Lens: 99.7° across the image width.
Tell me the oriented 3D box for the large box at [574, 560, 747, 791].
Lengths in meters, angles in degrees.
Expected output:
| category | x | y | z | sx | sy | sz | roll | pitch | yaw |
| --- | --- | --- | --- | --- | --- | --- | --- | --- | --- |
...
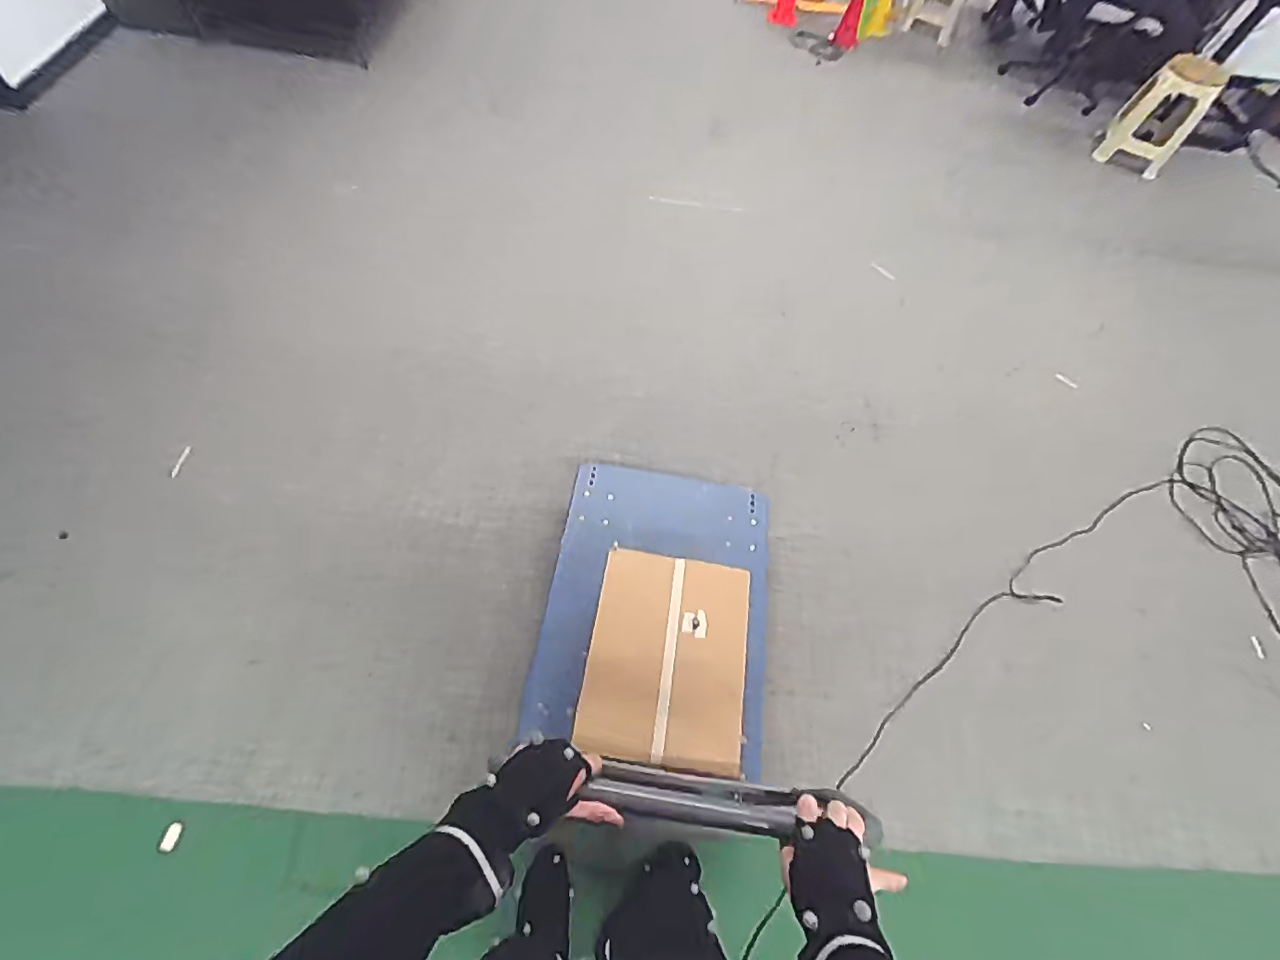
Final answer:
| category | x | y | z | sx | sy | sz | roll | pitch | yaw |
| --- | --- | --- | --- | --- | --- | --- | --- | --- | --- |
| large box | 0.044 | 0.439 | 1.197 | 0.320 | 0.320 | 0.408 | 10 | 59 | 0 |
